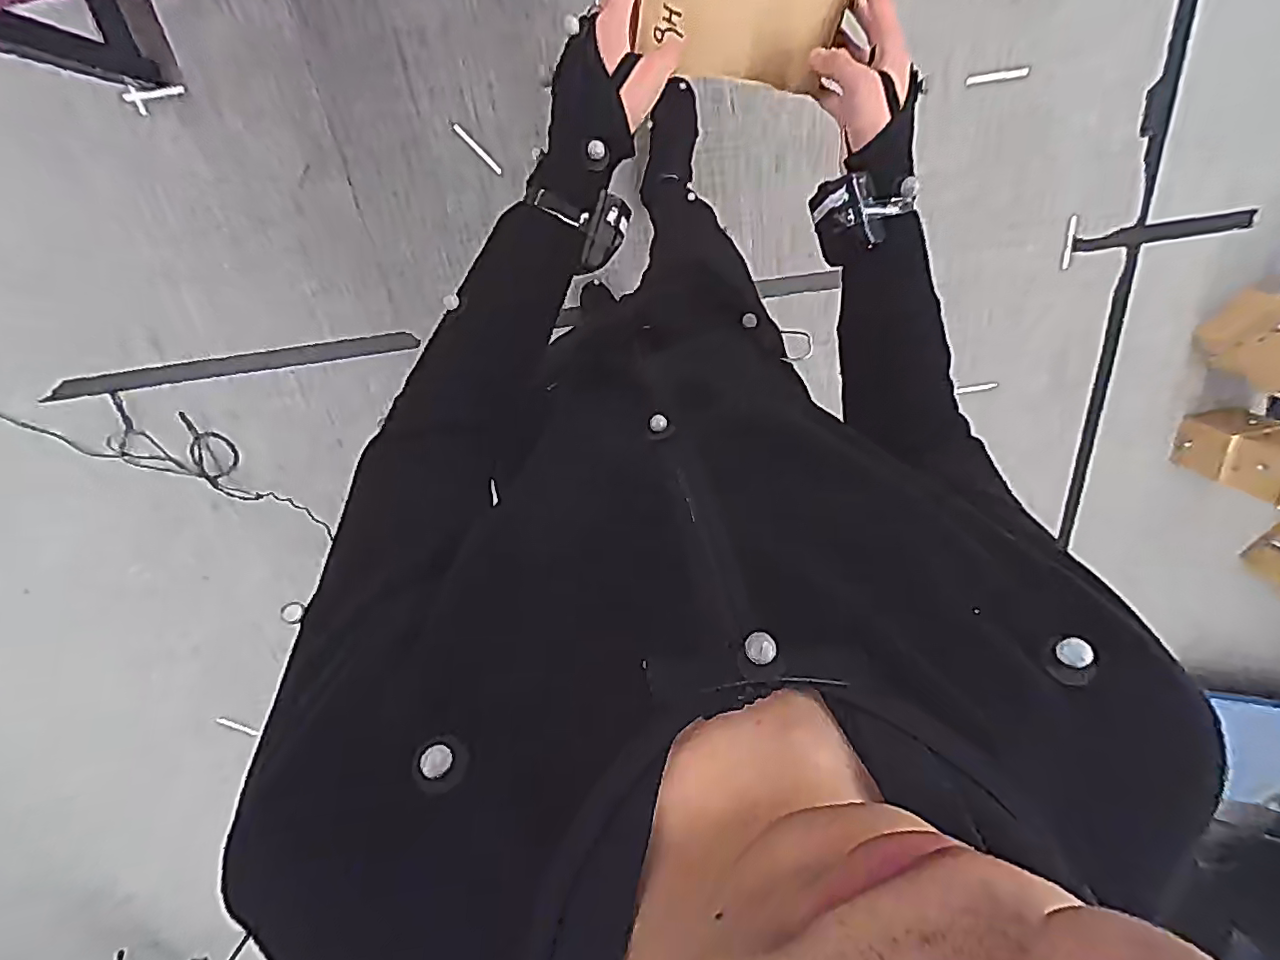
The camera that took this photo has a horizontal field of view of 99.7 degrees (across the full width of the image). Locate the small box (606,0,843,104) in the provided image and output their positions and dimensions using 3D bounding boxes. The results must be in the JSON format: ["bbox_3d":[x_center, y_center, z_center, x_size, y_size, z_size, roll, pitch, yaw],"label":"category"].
[{"bbox_3d":[0.075,-0.467,0.479,0.179,0.176,0.168,0,139,-15],"label":"small box"}]
